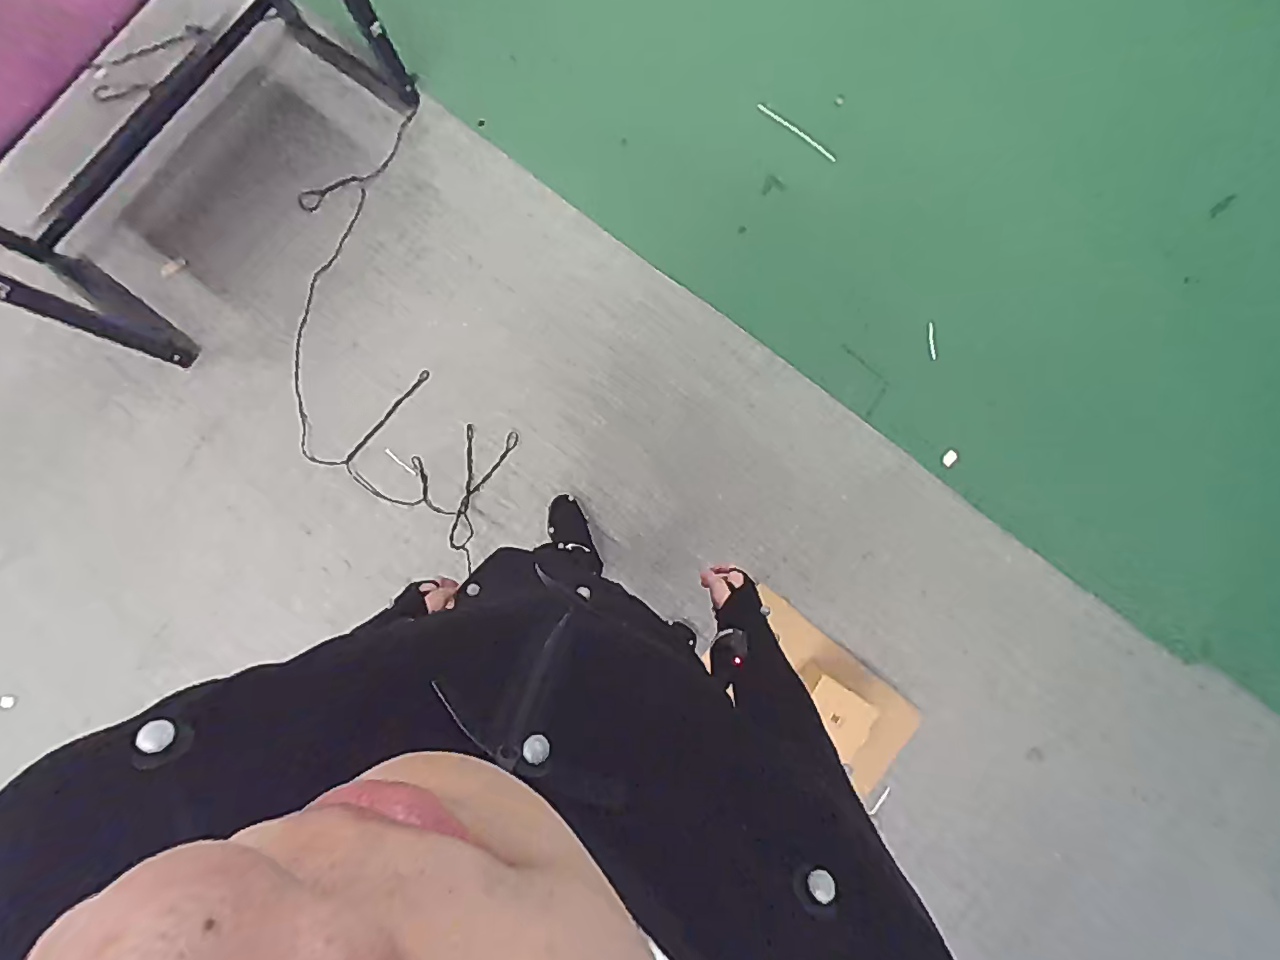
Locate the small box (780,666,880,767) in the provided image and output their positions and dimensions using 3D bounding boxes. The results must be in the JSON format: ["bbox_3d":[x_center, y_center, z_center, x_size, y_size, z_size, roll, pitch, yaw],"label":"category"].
[{"bbox_3d":[0.516,0.640,1.492,0.179,0.176,0.168,33,86,5],"label":"small box"}]
